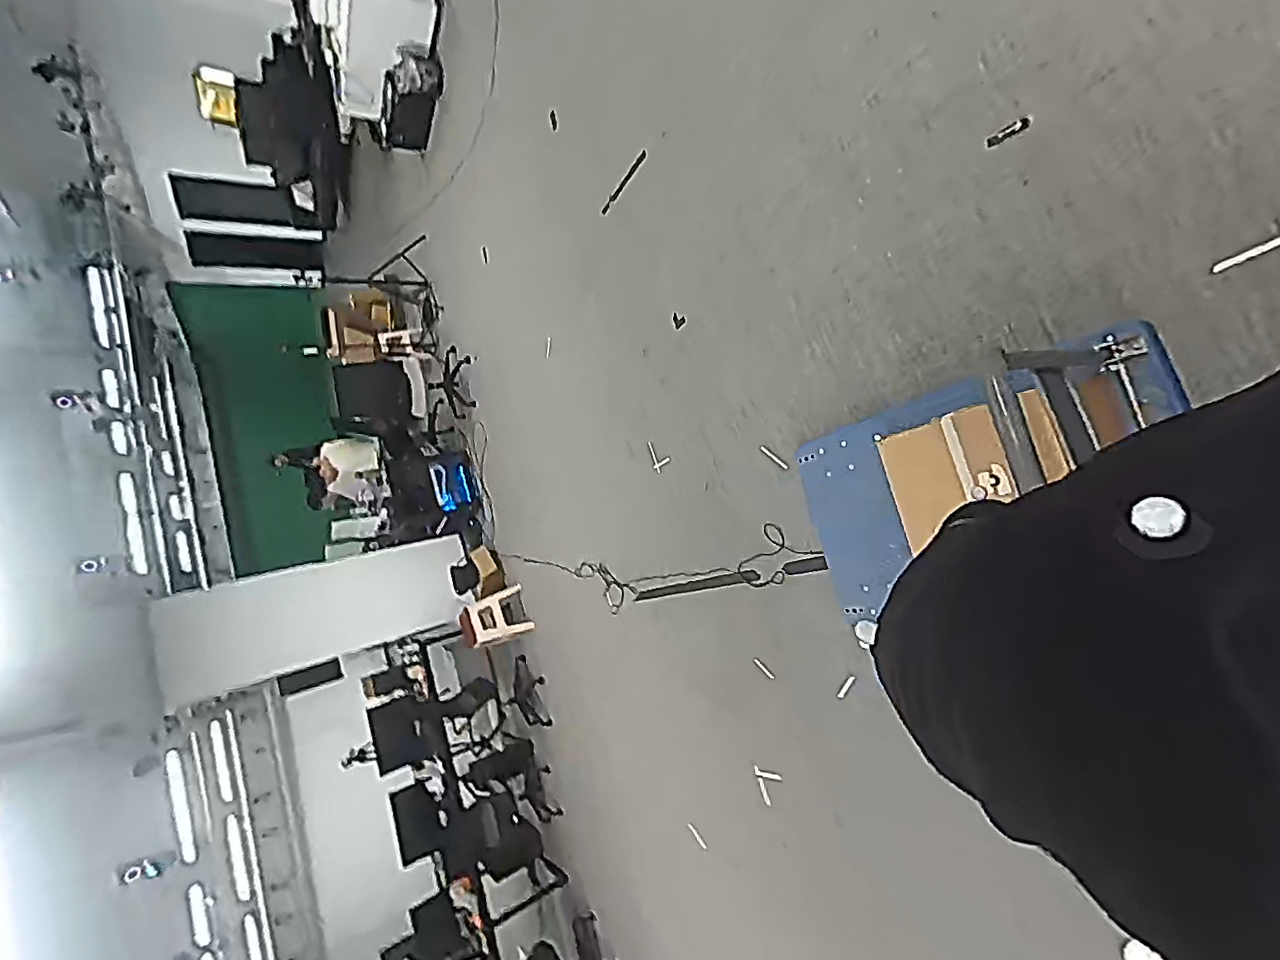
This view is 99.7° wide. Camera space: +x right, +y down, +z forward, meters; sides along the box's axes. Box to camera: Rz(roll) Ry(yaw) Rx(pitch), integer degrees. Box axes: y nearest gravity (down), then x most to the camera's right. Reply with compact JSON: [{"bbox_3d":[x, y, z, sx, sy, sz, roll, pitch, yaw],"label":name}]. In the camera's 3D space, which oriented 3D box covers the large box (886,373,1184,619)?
[{"bbox_3d":[0.772,0.035,1.077,0.320,0.320,0.408,-24,79,55],"label":"large box"}]
